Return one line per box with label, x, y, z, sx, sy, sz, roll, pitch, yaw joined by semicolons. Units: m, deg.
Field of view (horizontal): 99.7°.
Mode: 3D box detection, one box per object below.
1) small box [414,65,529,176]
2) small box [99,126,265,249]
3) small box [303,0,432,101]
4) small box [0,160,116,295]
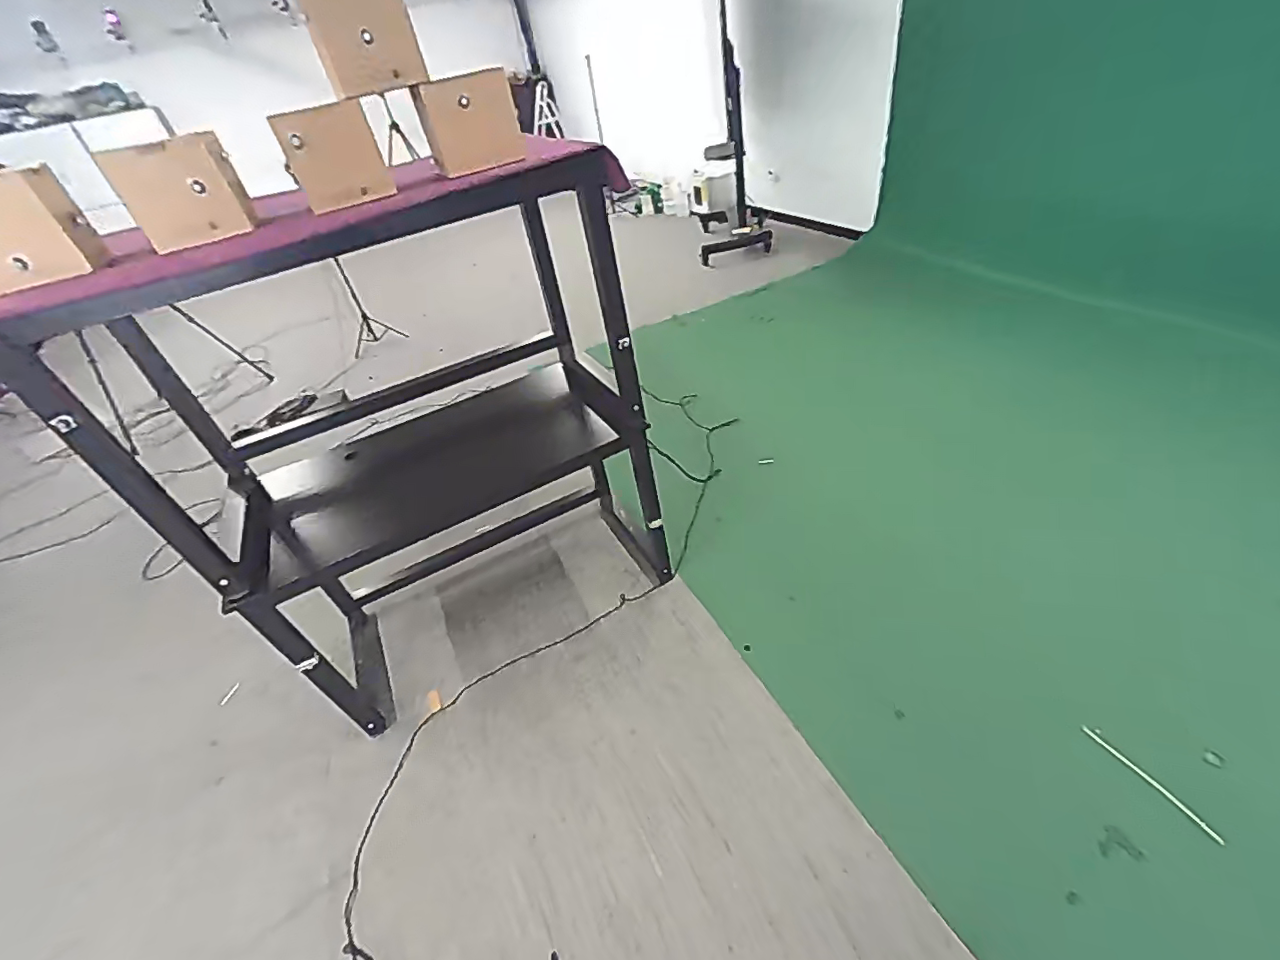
small box;-0.364;-0.775;1.174;0.179;0.176;0.168;-24;40;-15
small box;-0.847;-0.553;1.025;0.168;0.176;0.179;-23;39;-15
small box;-0.520;-0.845;1.037;0.168;0.176;0.179;-25;39;-17
small box;-1.085;-0.443;0.946;0.179;0.176;0.168;-25;40;-18
